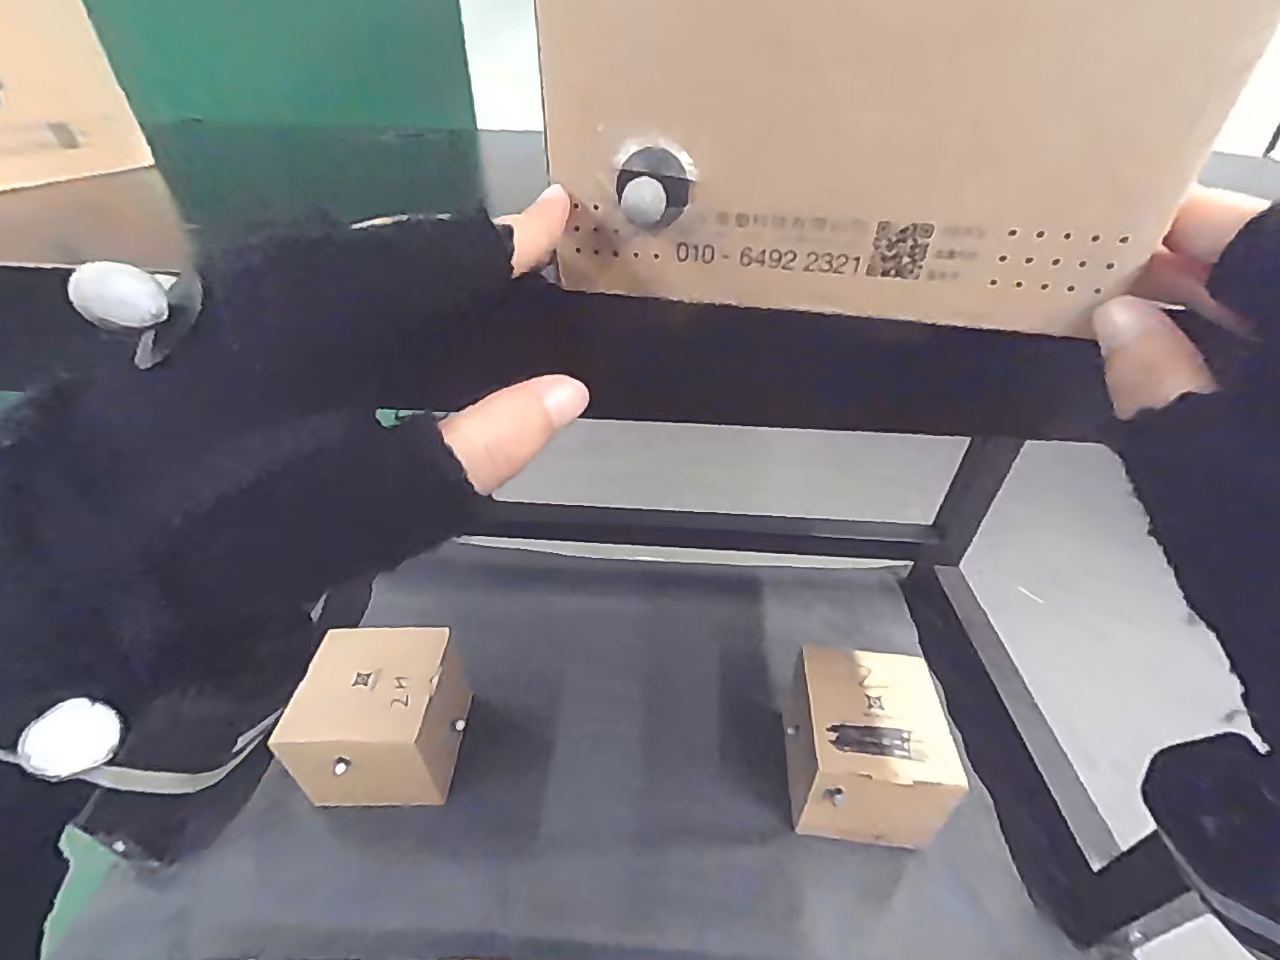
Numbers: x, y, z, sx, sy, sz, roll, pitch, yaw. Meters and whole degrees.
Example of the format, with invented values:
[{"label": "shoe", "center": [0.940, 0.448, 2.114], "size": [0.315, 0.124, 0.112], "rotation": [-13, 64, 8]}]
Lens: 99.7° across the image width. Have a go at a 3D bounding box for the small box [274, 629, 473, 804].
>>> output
[{"label": "small box", "center": [-0.349, 0.327, 0.749], "size": [0.179, 0.176, 0.168], "rotation": [1, 37, -1]}]
